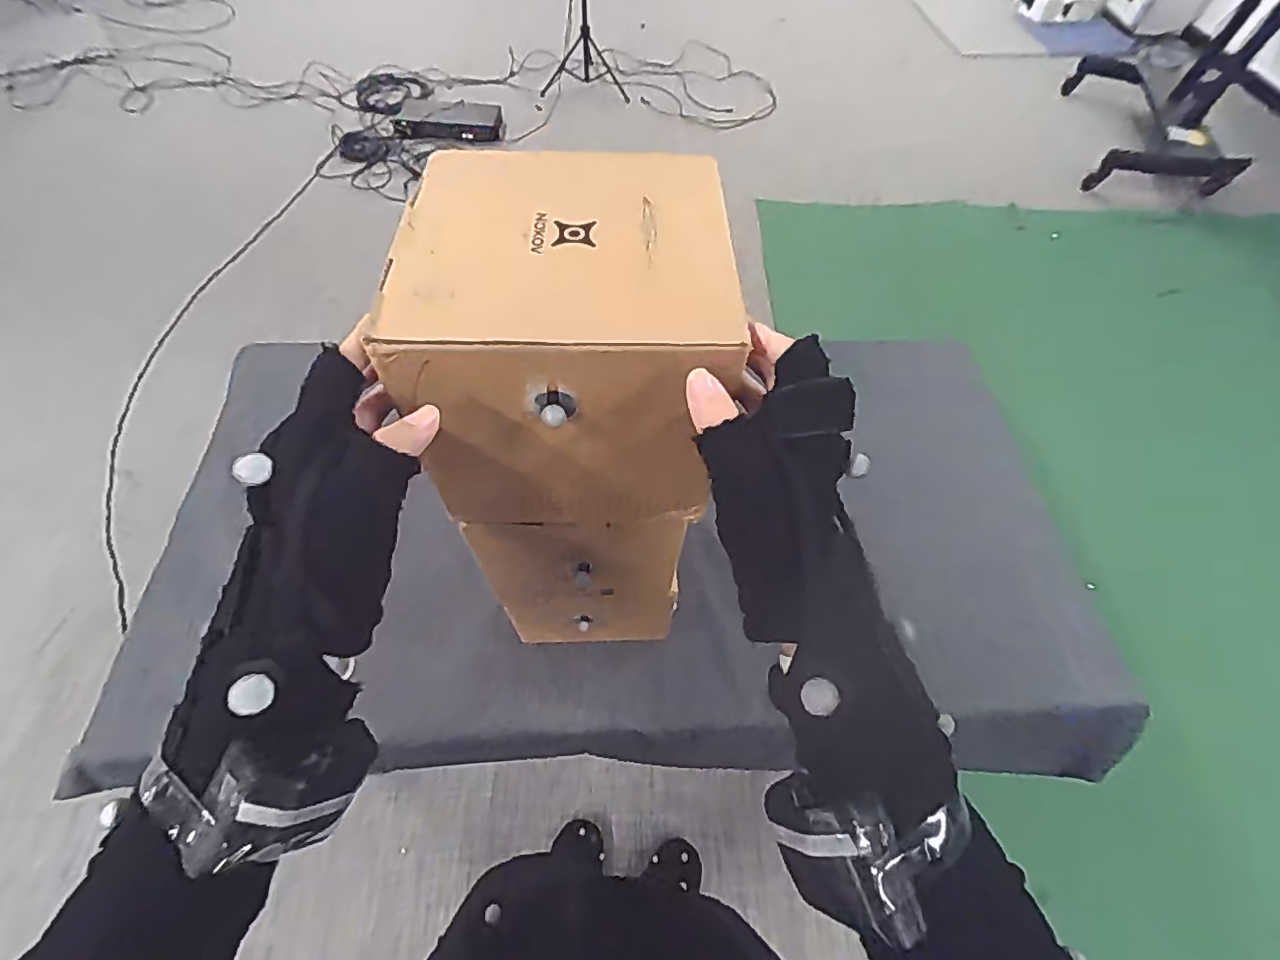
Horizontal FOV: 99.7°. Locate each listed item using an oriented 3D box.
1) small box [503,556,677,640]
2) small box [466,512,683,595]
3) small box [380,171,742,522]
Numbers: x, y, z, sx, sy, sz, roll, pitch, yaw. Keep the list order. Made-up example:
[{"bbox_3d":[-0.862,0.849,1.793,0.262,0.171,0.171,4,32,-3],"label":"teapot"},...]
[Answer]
[{"bbox_3d":[-0.055,0.088,0.647,0.179,0.176,0.168,-1,58,-2],"label":"small box"},{"bbox_3d":[-0.053,0.002,0.508,0.168,0.176,0.179,-2,59,-4],"label":"small box"},{"bbox_3d":[-0.041,-0.080,0.366,0.179,0.176,0.168,0,57,-3],"label":"small box"}]
